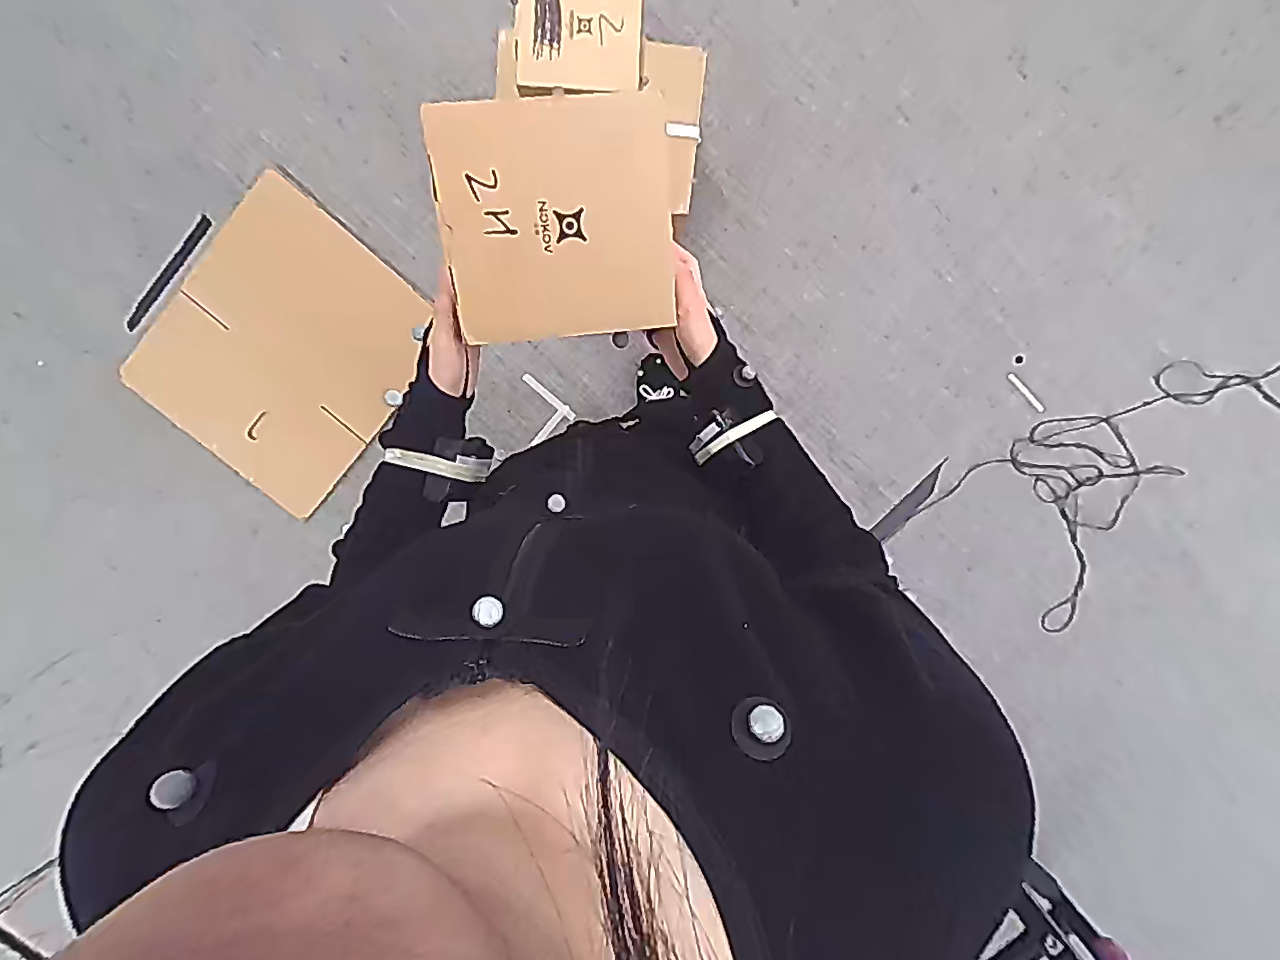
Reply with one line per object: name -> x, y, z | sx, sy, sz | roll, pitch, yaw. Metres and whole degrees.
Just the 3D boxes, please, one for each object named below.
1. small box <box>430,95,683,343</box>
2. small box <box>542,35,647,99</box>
small box -> -0.065, -0.221, 0.482 | 0.179, 0.176, 0.168 | -6, 111, -5
small box -> -0.080, -0.668, 0.990 | 0.179, 0.176, 0.168 | 2, 100, -2
